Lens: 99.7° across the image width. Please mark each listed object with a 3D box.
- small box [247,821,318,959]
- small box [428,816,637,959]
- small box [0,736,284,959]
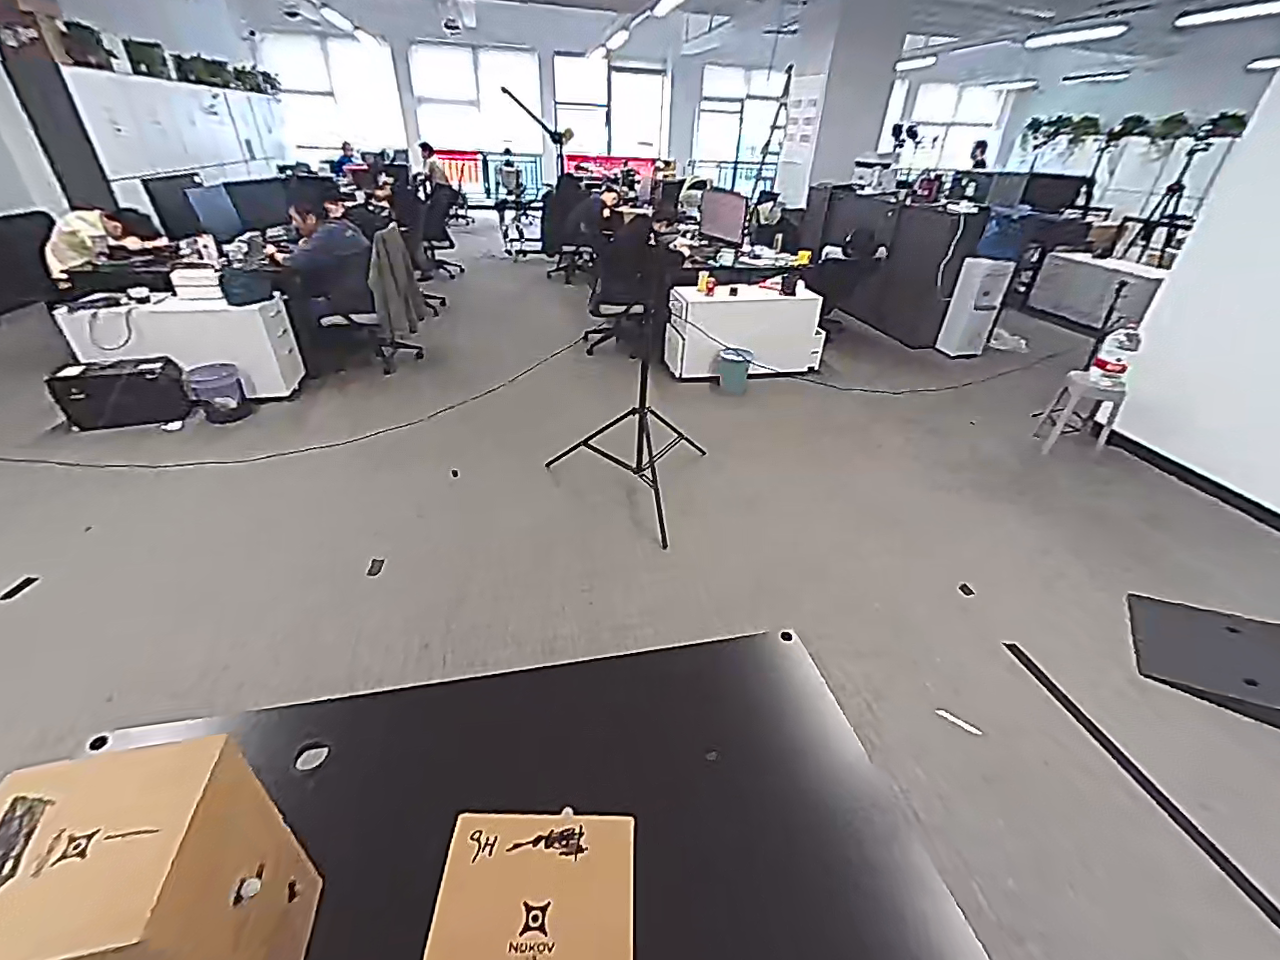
[{"bbox_3d":[-0.462,0.502,0.564,0.168,0.176,0.179,-6,34,-11],"label":"small box"},{"bbox_3d":[-0.087,0.431,0.486,0.168,0.176,0.179,2,38,-2],"label":"small box"},{"bbox_3d":[-0.456,0.364,0.475,0.179,0.176,0.168,-6,33,-12],"label":"small box"}]
